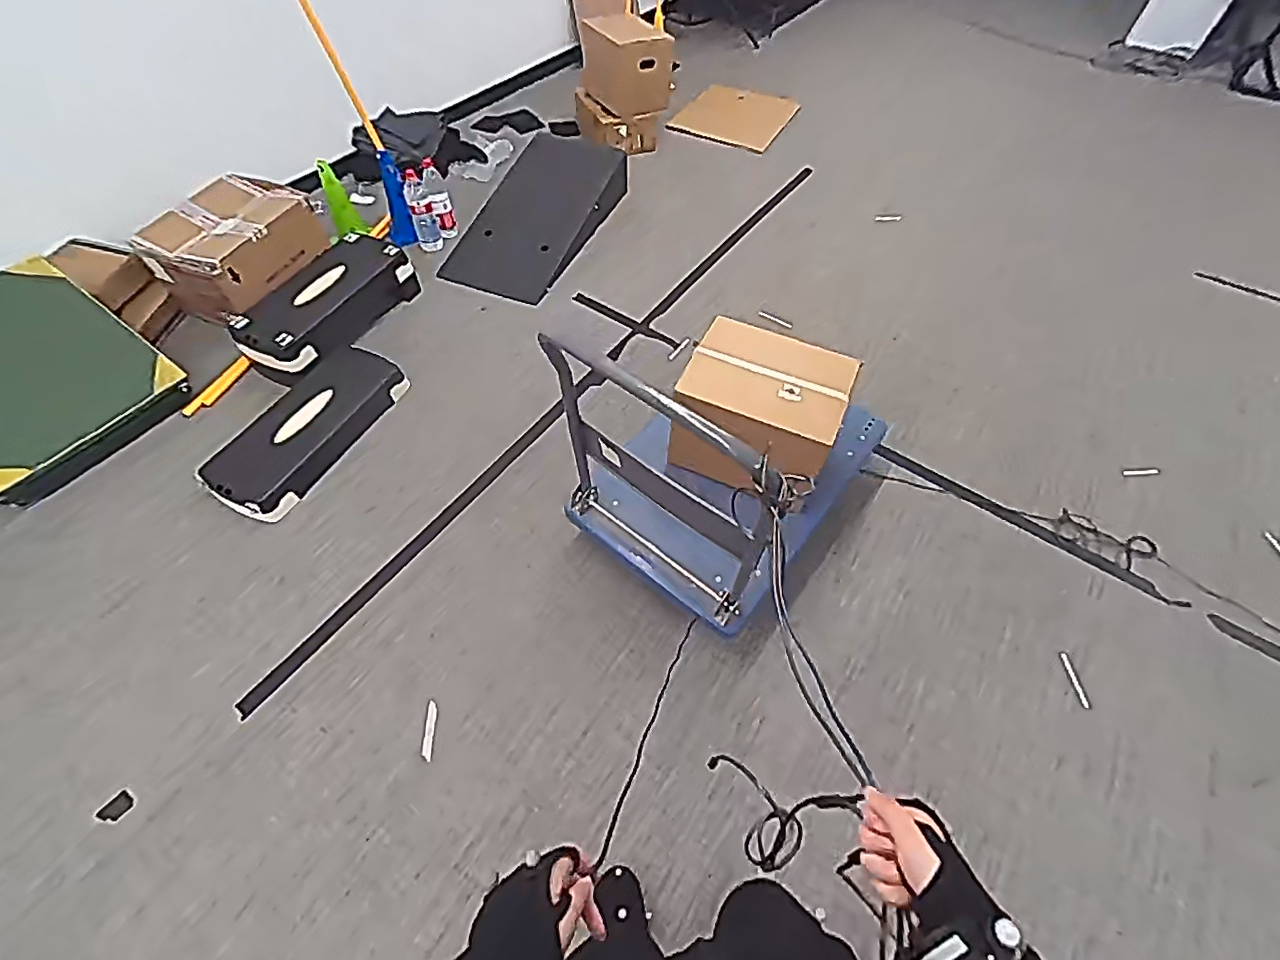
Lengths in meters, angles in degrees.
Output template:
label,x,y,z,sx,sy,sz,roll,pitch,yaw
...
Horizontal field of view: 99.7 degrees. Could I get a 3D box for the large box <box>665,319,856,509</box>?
label,x,y,z,sx,sy,sz,roll,pitch,yaw
large box,0.314,-0.180,1.489,0.408,0.320,0.320,22,59,13
